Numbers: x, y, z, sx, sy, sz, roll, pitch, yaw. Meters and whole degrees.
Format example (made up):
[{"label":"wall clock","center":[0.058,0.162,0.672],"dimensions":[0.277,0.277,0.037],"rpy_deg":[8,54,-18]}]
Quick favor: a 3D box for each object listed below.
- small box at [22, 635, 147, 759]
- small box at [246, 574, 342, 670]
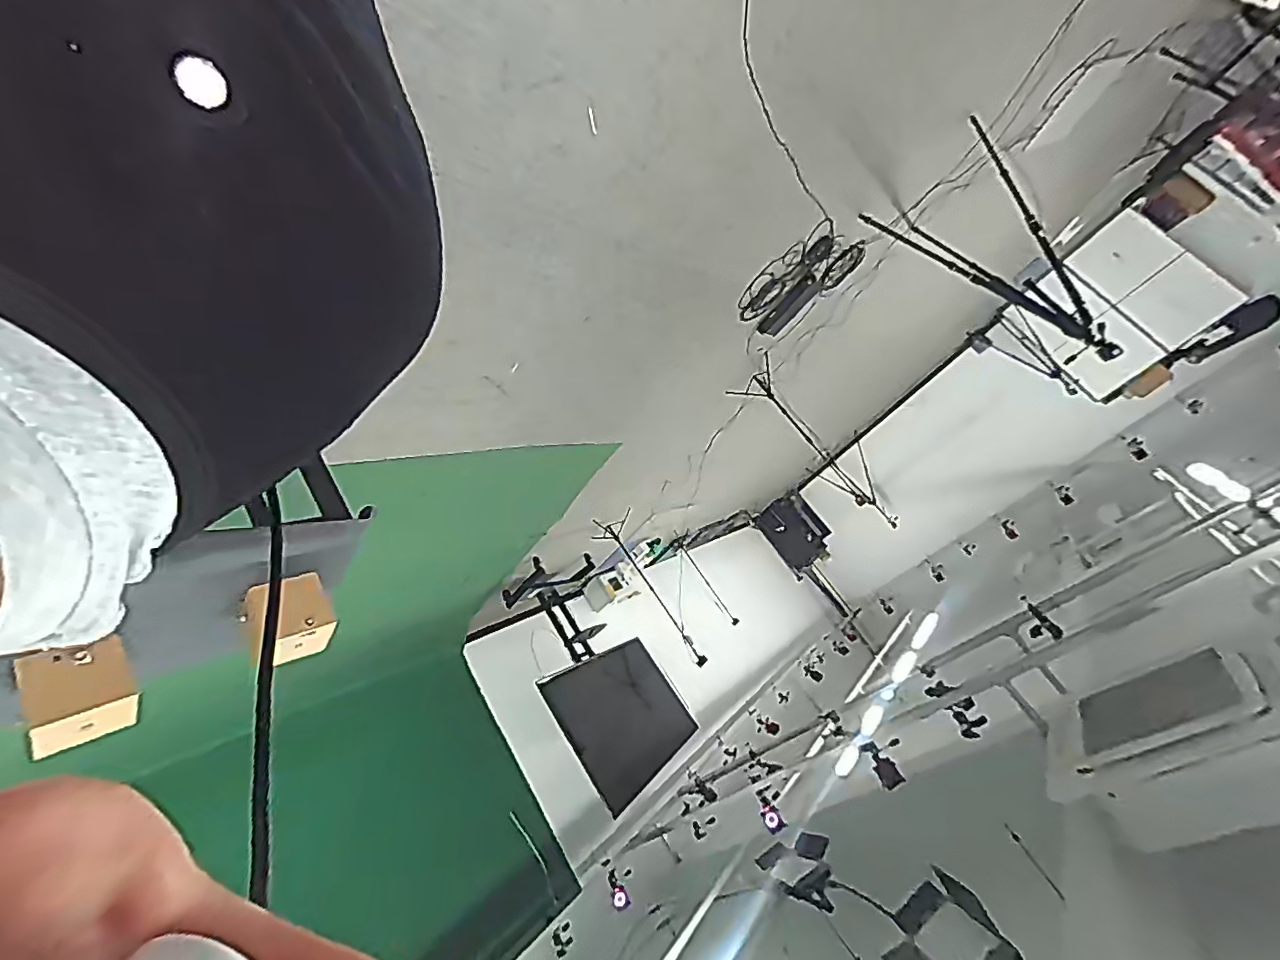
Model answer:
[{"label":"small box","center":[-1.243,0.480,1.214],"dimensions":[0.168,0.176,0.179],"rpy_deg":[-15,152,-50]},{"label":"small box","center":[-0.957,0.385,1.489],"dimensions":[0.168,0.176,0.179],"rpy_deg":[-14,153,-50]}]
